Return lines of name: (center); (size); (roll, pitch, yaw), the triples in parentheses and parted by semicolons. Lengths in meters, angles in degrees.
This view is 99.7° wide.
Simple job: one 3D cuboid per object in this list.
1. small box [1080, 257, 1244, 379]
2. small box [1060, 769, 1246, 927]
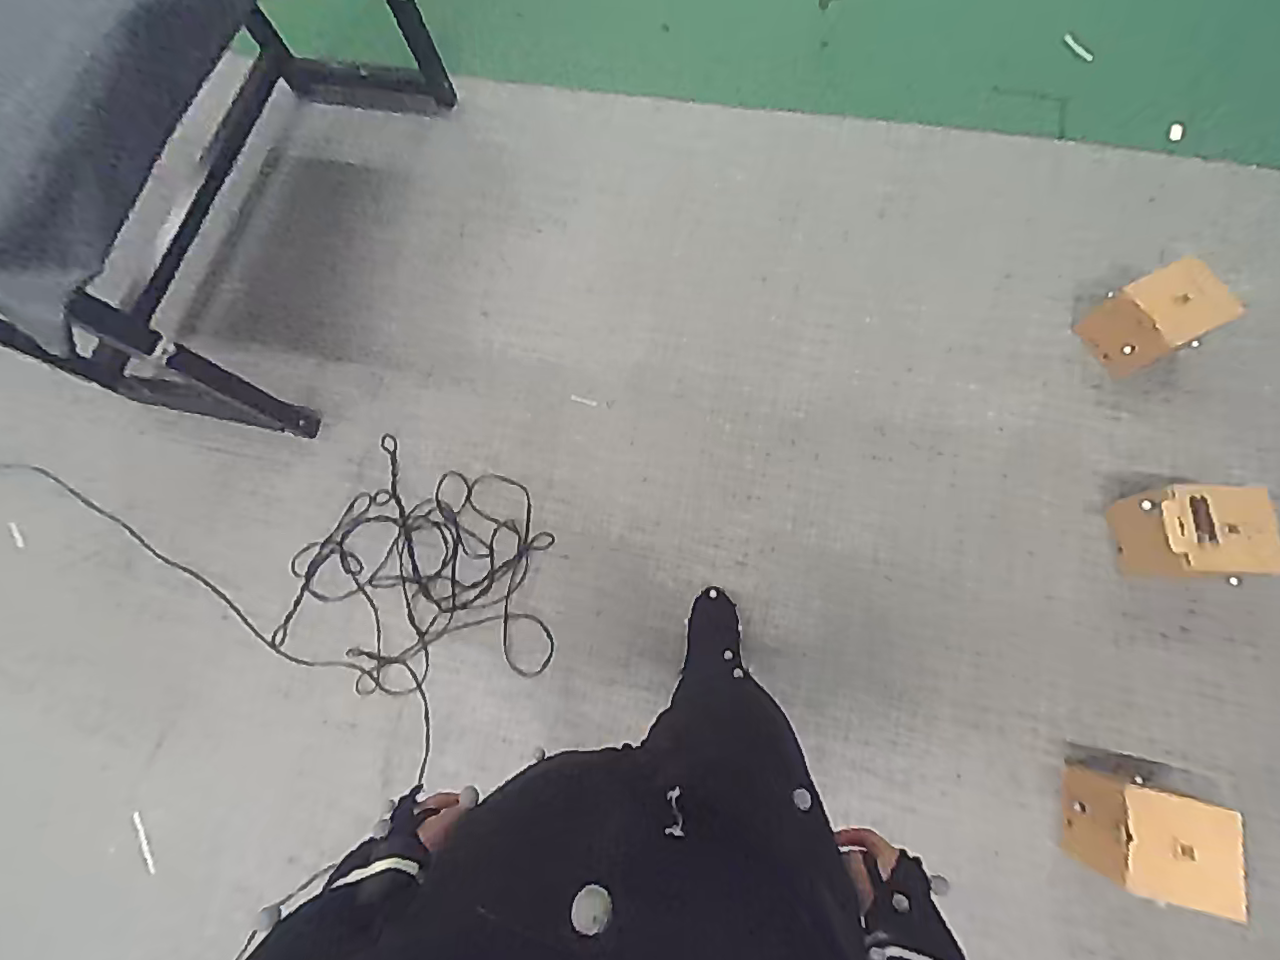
small box: (1.150, -0.354, 1.216); (0.179, 0.176, 0.168); (-26, 75, -3)
small box: (0.897, 0.635, 0.959); (0.179, 0.176, 0.168); (11, 76, 9)
